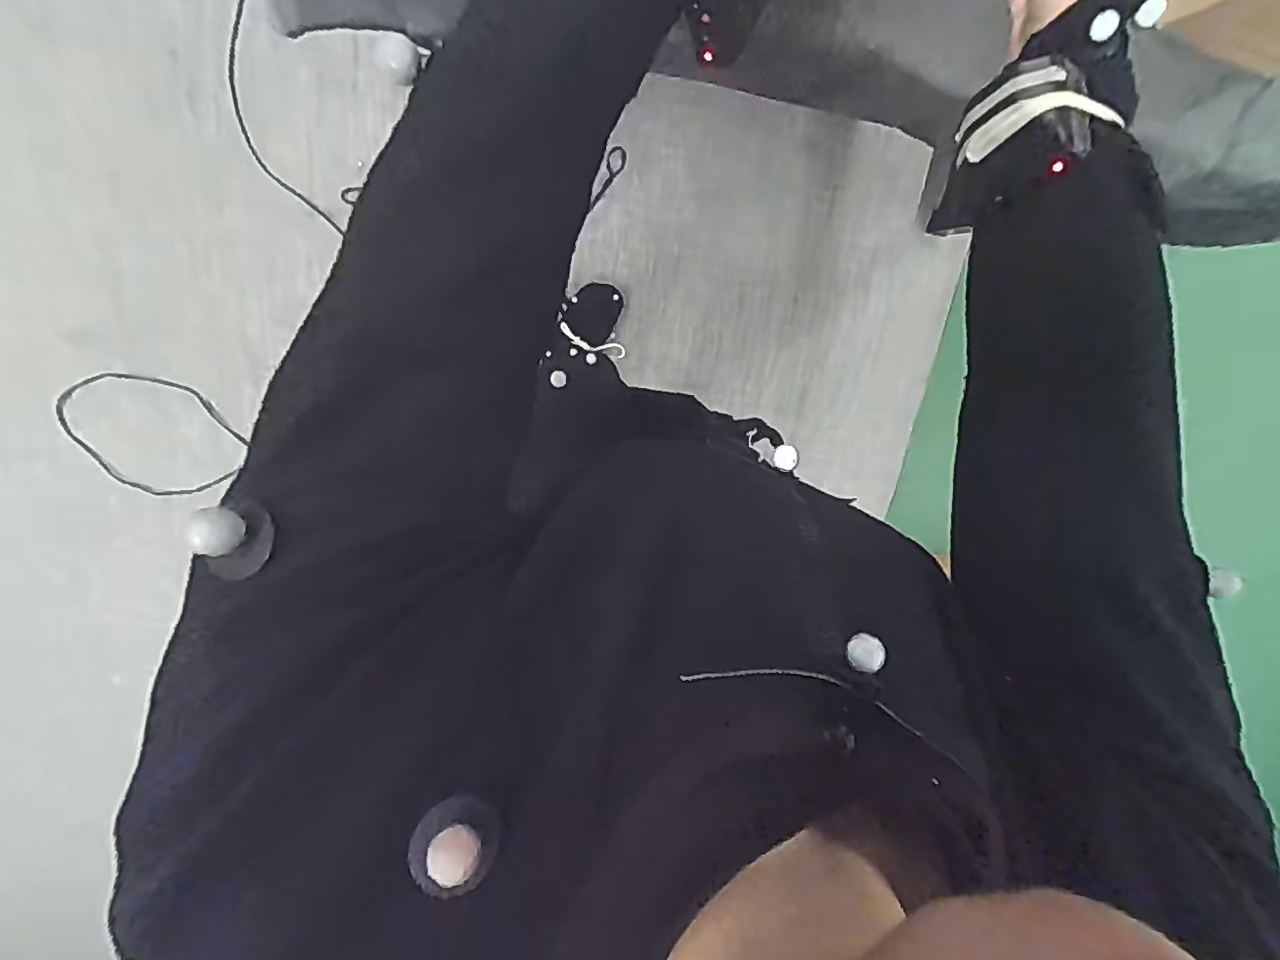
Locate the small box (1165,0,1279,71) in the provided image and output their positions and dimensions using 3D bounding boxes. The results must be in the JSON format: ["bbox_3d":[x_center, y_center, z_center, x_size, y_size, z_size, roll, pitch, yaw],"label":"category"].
[{"bbox_3d":[0.642,-0.505,0.481,0.179,0.176,0.168,7,107,-13],"label":"small box"}]
